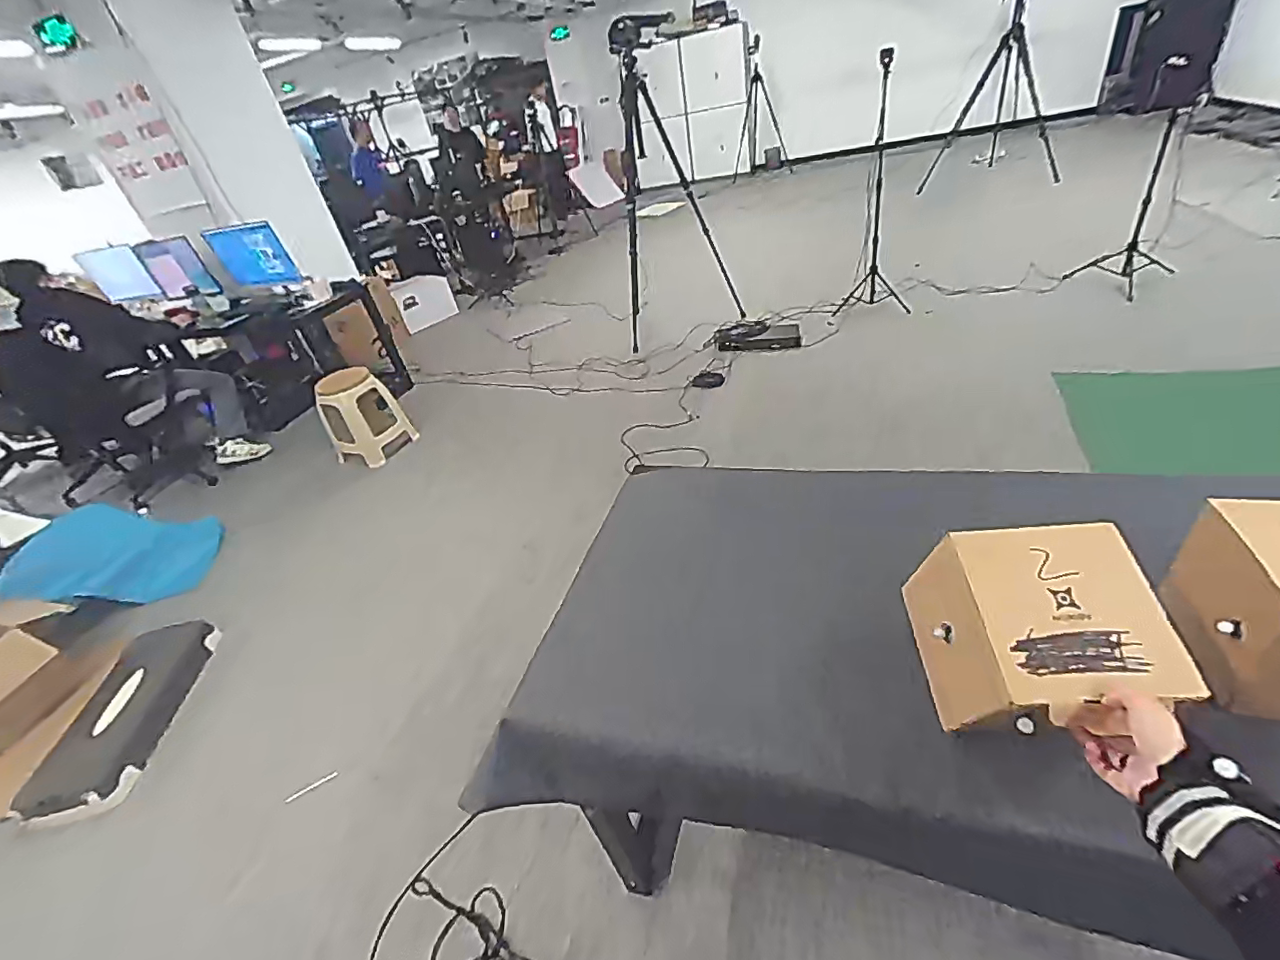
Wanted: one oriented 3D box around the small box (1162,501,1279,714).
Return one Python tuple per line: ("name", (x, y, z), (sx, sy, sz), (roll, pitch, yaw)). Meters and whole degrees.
("small box", (0.726, 0.143, 0.583), (0.168, 0.176, 0.179), (2, 37, 19))
